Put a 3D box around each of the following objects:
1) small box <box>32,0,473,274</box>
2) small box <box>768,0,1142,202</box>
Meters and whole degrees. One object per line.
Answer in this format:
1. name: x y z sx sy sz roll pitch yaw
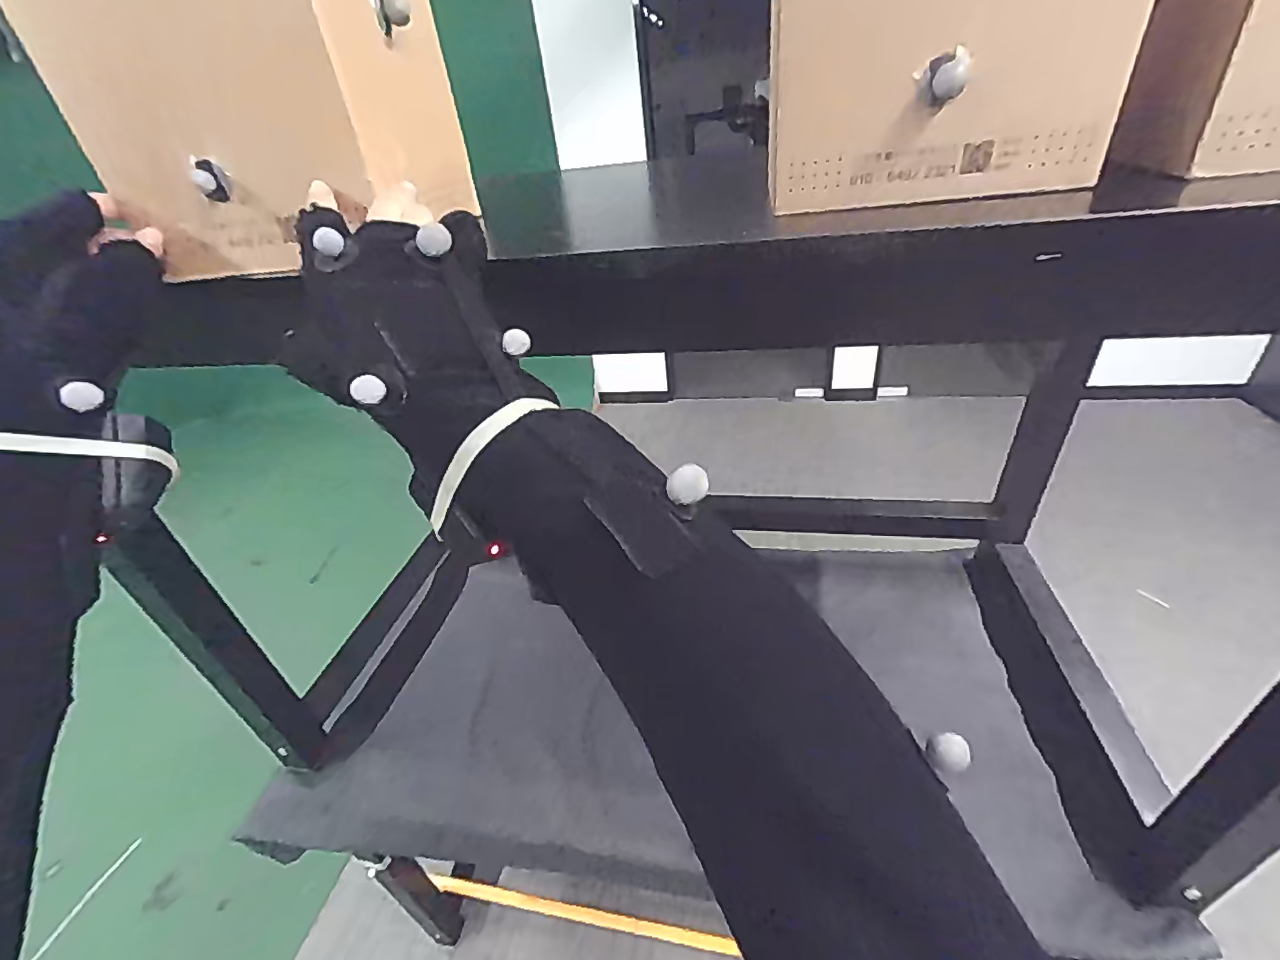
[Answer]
1. small box: -0.230 -0.248 0.370 0.168 0.176 0.179 -4 34 6
2. small box: 0.165 -0.273 0.326 0.168 0.176 0.179 0 34 12
